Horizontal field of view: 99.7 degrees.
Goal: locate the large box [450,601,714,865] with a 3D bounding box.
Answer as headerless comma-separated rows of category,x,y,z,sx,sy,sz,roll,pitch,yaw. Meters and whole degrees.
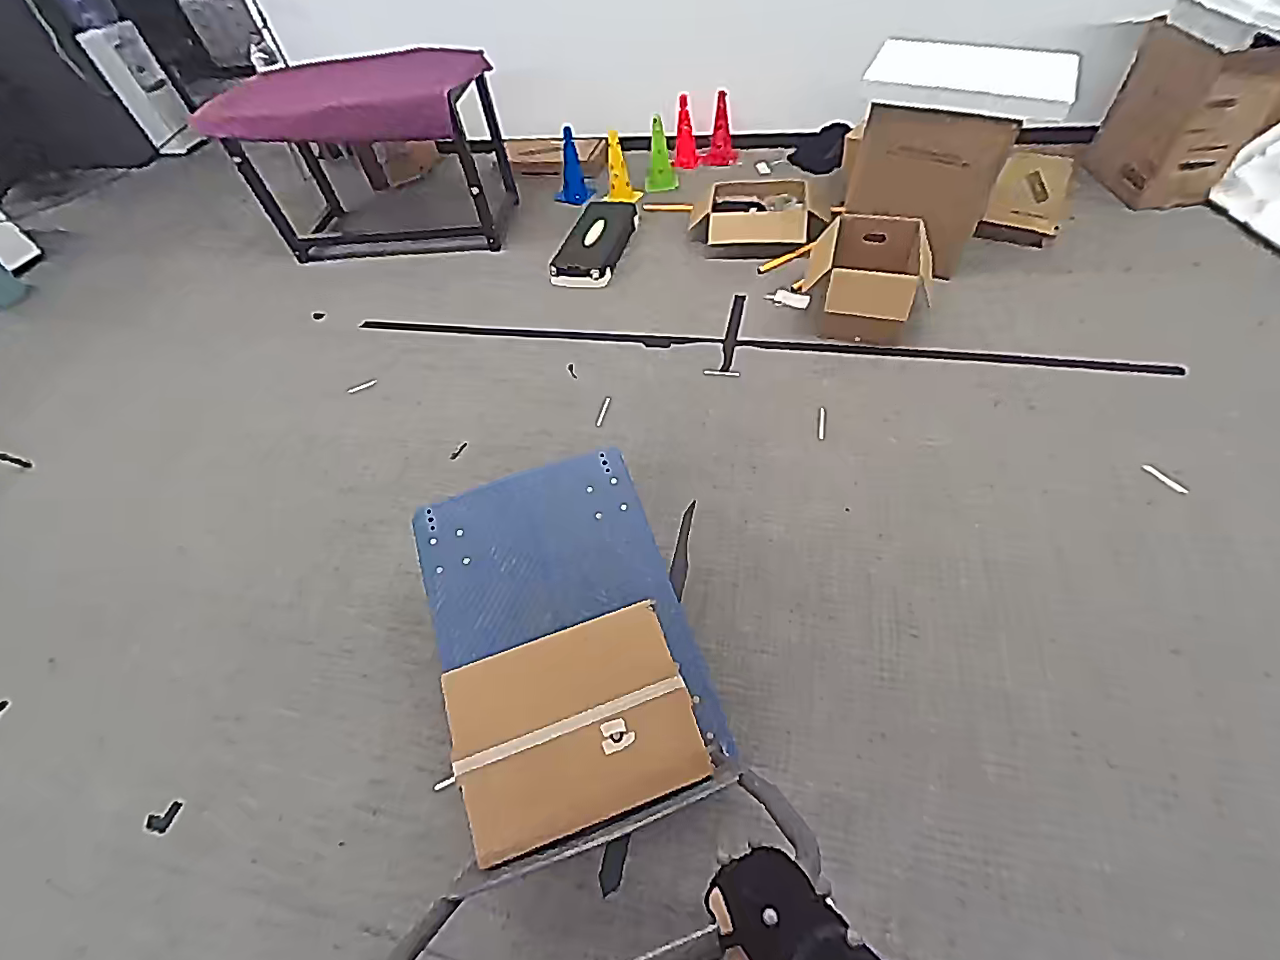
large box,-0.111,0.490,1.086,0.408,0.320,0.320,-18,67,-9
